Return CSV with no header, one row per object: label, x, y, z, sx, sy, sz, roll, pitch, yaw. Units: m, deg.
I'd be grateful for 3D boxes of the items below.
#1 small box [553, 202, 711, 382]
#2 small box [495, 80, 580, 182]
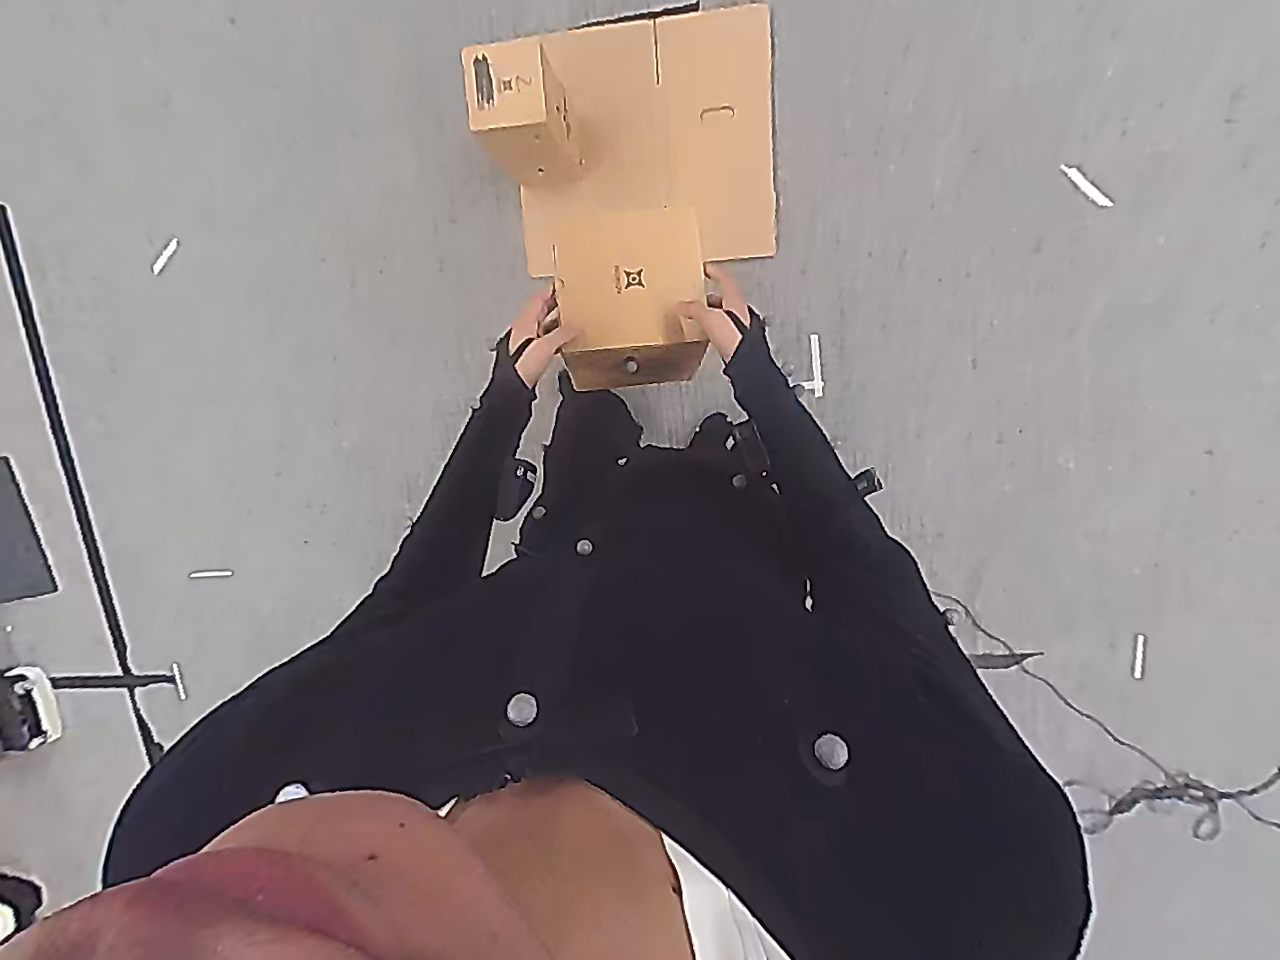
small box,-0.011,-0.234,0.709,0.179,0.176,0.168,-5,85,0
small box,-0.255,-0.892,1.395,0.179,0.176,0.168,-3,100,7
